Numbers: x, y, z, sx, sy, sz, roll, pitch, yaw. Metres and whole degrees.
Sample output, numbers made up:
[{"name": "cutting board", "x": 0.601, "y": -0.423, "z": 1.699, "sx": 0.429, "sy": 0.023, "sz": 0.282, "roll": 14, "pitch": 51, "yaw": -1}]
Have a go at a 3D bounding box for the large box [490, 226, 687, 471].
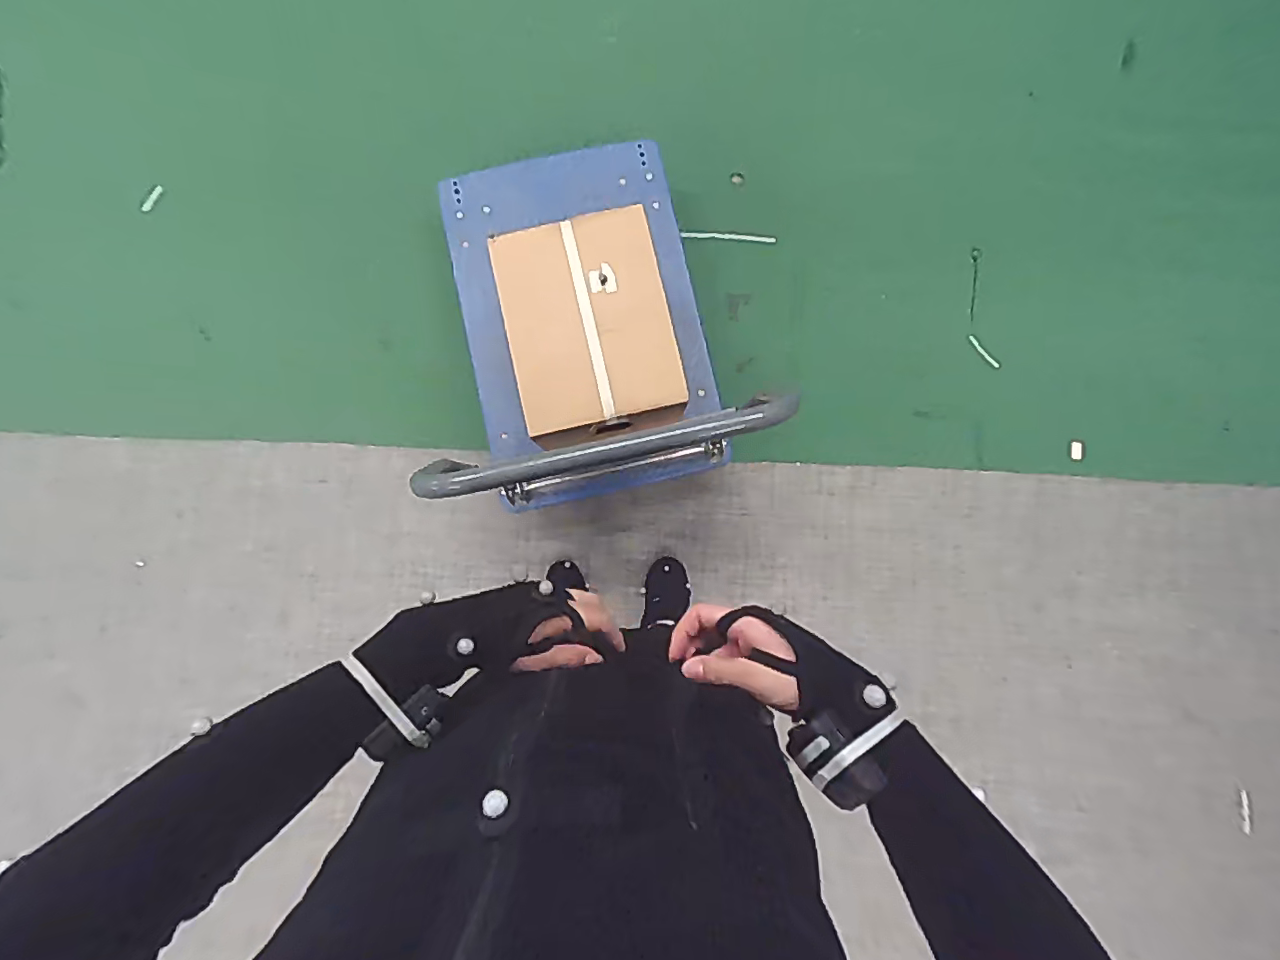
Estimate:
[{"name": "large box", "x": -0.101, "y": -0.264, "z": 1.200, "sx": 0.320, "sy": 0.320, "sz": 0.408, "roll": -13, "pitch": 83, "yaw": -2}]
